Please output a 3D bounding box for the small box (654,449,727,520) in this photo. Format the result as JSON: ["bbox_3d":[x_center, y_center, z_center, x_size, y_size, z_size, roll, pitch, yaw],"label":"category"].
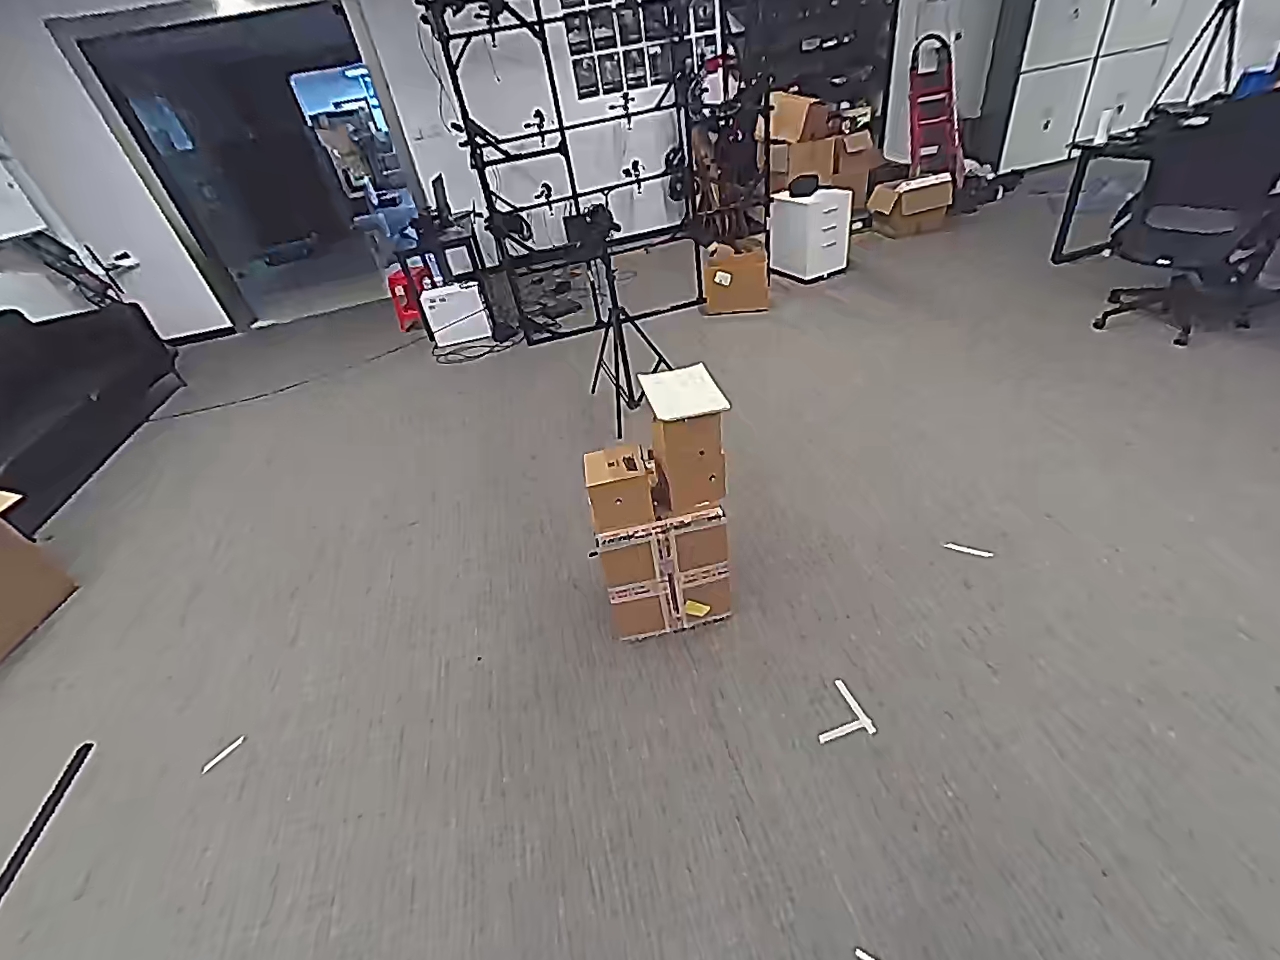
[{"bbox_3d":[0.153,-0.007,1.638,0.179,0.176,0.168,-15,38,-8],"label":"small box"}]

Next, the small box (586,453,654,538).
[{"bbox_3d":[-0.056,0.048,1.615,0.179,0.176,0.168,-12,38,0],"label":"small box"}]

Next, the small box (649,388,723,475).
[{"bbox_3d":[0.130,-0.139,1.545,0.168,0.176,0.179,-13,37,-7],"label":"small box"}]
